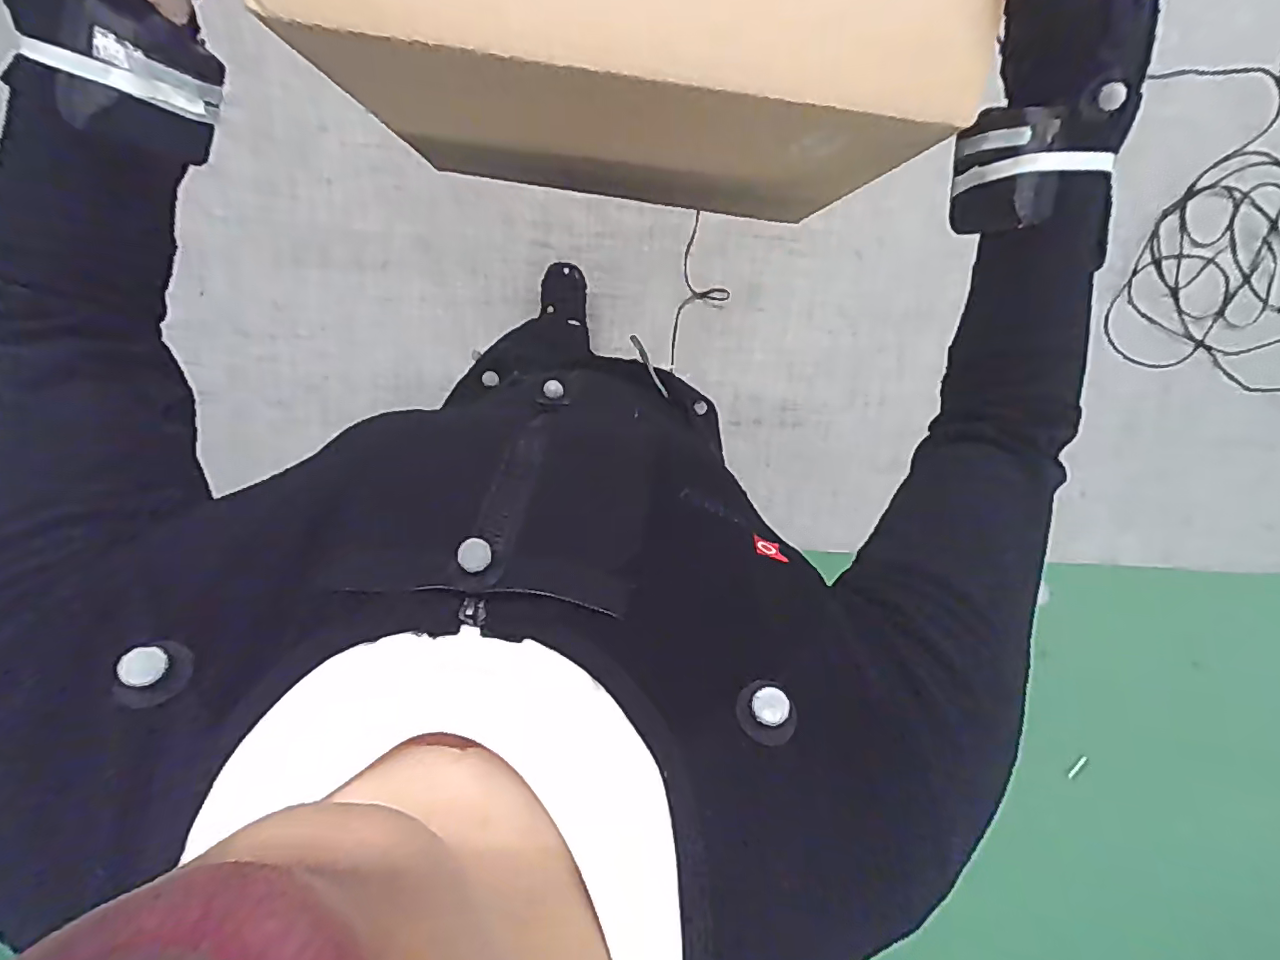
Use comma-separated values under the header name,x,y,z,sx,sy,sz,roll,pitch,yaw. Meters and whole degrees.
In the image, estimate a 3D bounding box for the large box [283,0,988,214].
name,x,y,z,sx,sy,sz,roll,pitch,yaw
large box,0.006,-0.421,0.416,0.408,0.320,0.320,6,106,-4
